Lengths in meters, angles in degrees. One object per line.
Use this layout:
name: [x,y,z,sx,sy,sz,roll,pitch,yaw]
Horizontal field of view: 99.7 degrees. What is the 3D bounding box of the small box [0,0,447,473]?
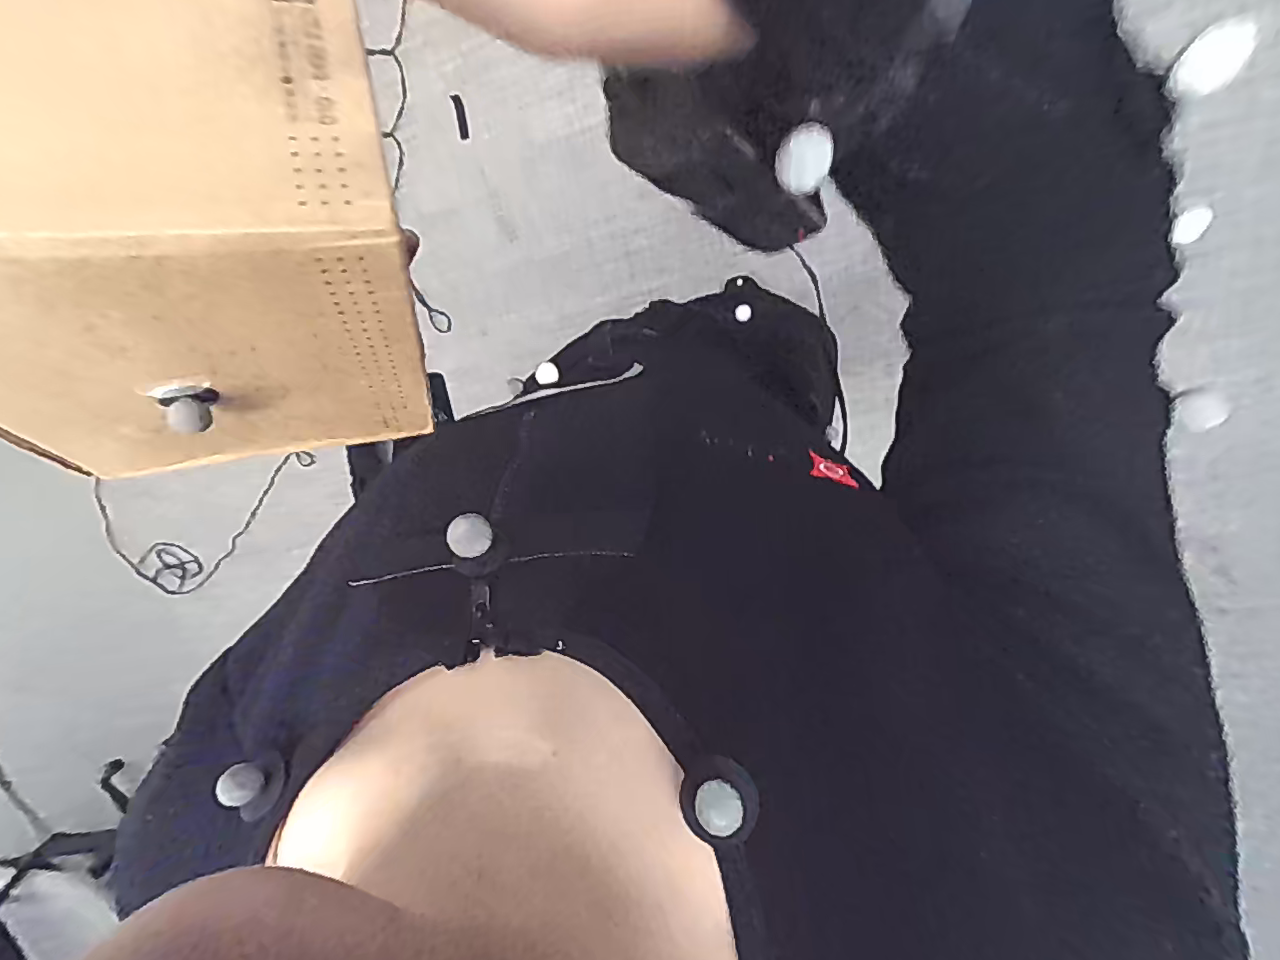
small box: [-0.194,-0.117,0.257,0.176,0.179,0.168,-12,75,-20]
